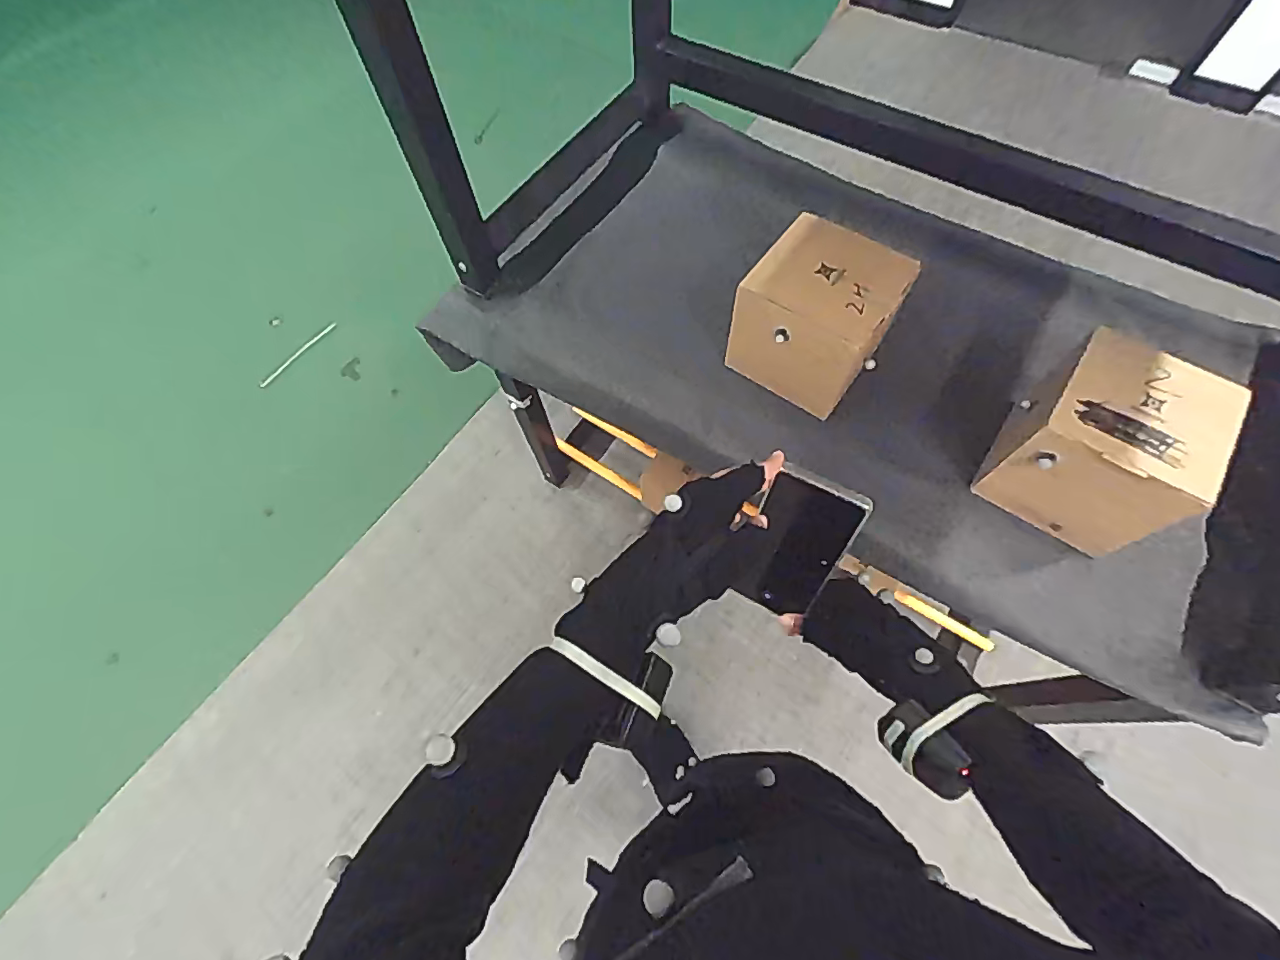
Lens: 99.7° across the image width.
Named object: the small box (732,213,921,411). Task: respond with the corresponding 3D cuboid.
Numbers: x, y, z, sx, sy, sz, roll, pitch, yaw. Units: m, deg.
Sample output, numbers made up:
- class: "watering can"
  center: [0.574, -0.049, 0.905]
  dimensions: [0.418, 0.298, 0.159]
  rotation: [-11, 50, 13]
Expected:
- class: "small box"
  center: [0.246, -0.227, 0.760]
  dimensions: [0.179, 0.176, 0.168]
  rotation: [34, 71, 17]
